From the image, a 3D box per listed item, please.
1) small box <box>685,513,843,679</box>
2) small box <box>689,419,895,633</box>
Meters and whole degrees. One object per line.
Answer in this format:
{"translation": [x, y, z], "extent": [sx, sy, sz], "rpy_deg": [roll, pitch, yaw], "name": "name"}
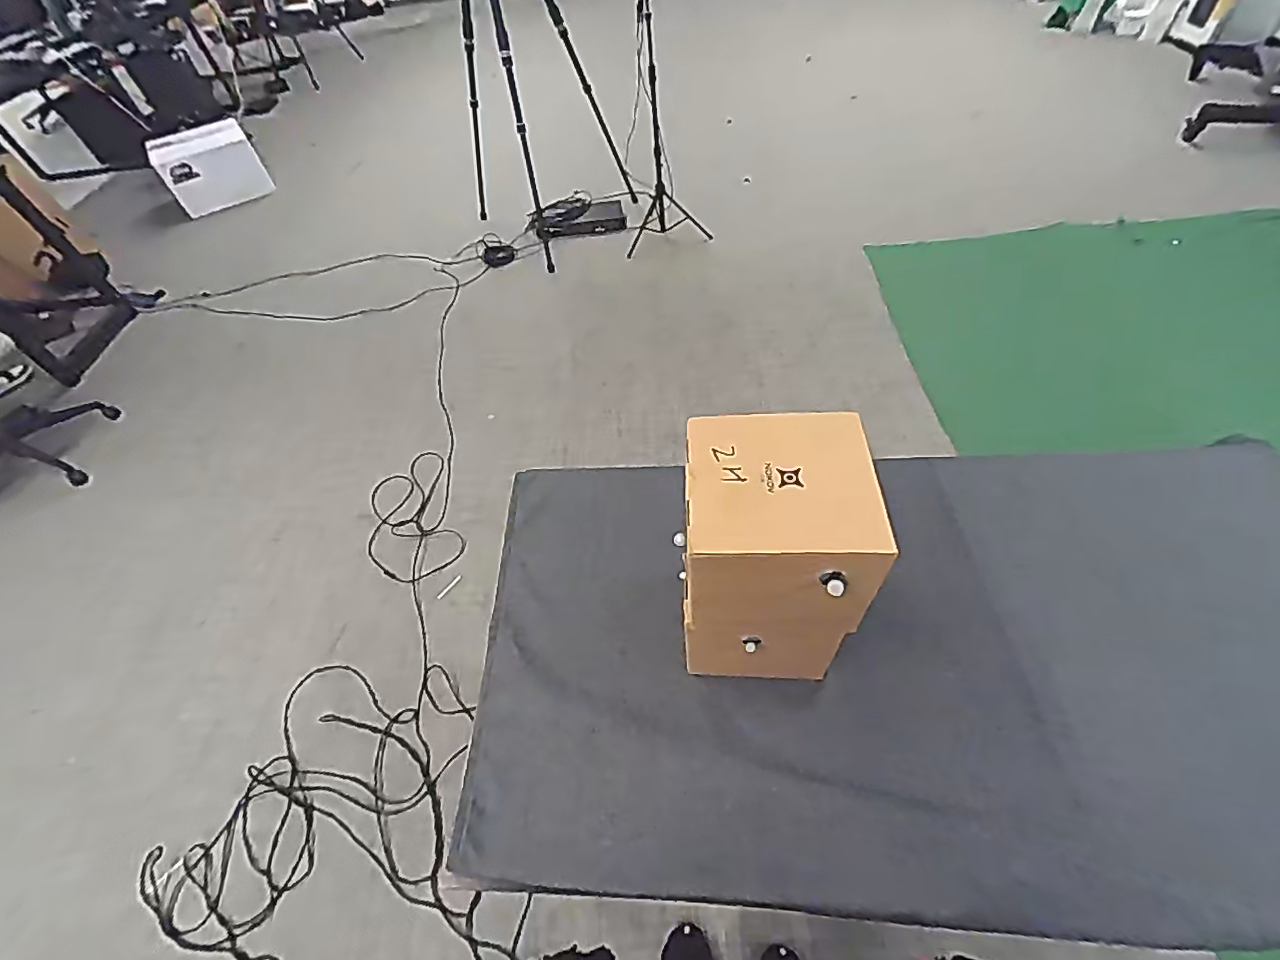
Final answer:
{"translation": [0.150, 0.151, 0.709], "extent": [0.179, 0.176, 0.168], "rpy_deg": [1, 52, 6], "name": "small box"}
{"translation": [0.141, 0.052, 0.577], "extent": [0.179, 0.176, 0.168], "rpy_deg": [-1, 51, 6], "name": "small box"}
